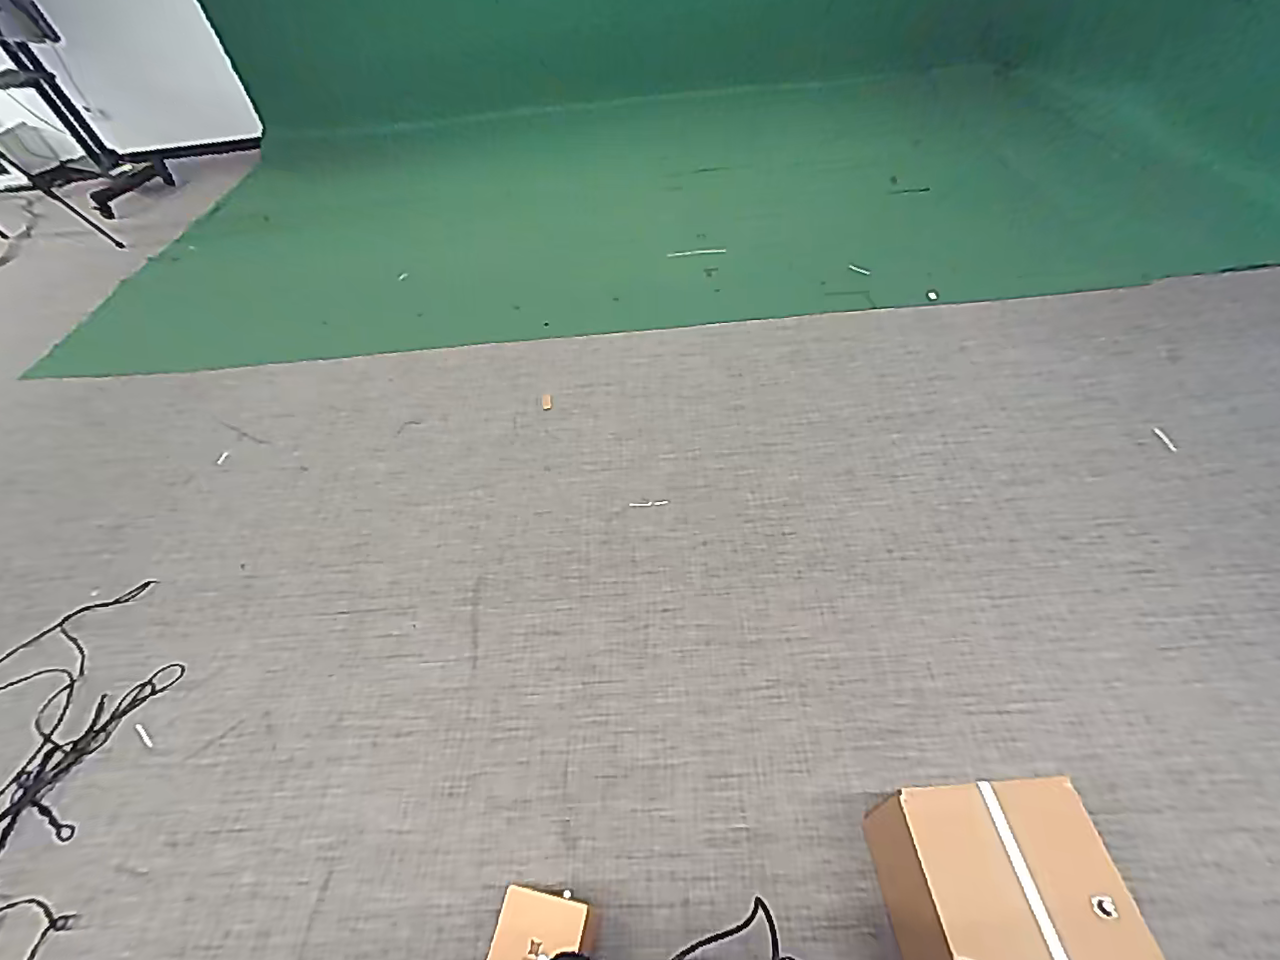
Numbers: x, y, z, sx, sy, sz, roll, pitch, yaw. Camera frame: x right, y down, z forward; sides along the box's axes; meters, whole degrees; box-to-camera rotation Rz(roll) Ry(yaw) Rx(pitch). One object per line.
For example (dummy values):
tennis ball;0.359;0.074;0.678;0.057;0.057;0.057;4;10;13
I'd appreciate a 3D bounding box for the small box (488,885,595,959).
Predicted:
small box;-0.191;0.928;1.064;0.168;0.176;0.179;6;52;11
